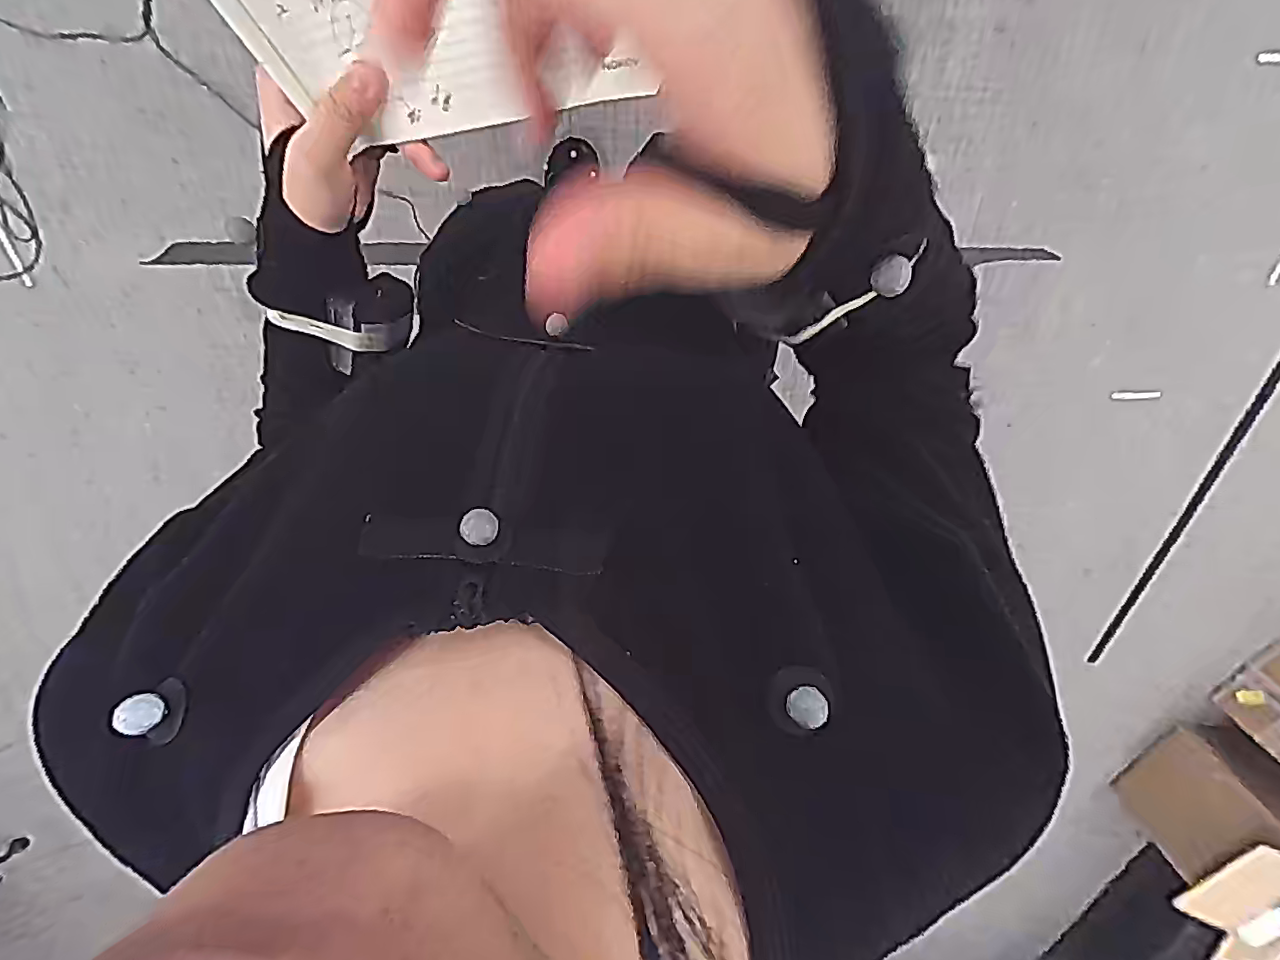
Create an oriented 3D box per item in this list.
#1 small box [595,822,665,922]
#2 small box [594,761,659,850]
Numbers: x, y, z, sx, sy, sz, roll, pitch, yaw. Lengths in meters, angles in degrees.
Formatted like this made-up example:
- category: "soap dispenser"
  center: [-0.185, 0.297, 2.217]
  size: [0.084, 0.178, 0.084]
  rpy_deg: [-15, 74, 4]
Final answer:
- category: "small box"
  center: [-0.031, 1.041, 1.440]
  size: [0.168, 0.176, 0.179]
  rpy_deg: [2, 122, -7]
- category: "small box"
  center: [-0.045, 0.943, 1.572]
  size: [0.179, 0.176, 0.168]
  rpy_deg: [0, 123, -6]
